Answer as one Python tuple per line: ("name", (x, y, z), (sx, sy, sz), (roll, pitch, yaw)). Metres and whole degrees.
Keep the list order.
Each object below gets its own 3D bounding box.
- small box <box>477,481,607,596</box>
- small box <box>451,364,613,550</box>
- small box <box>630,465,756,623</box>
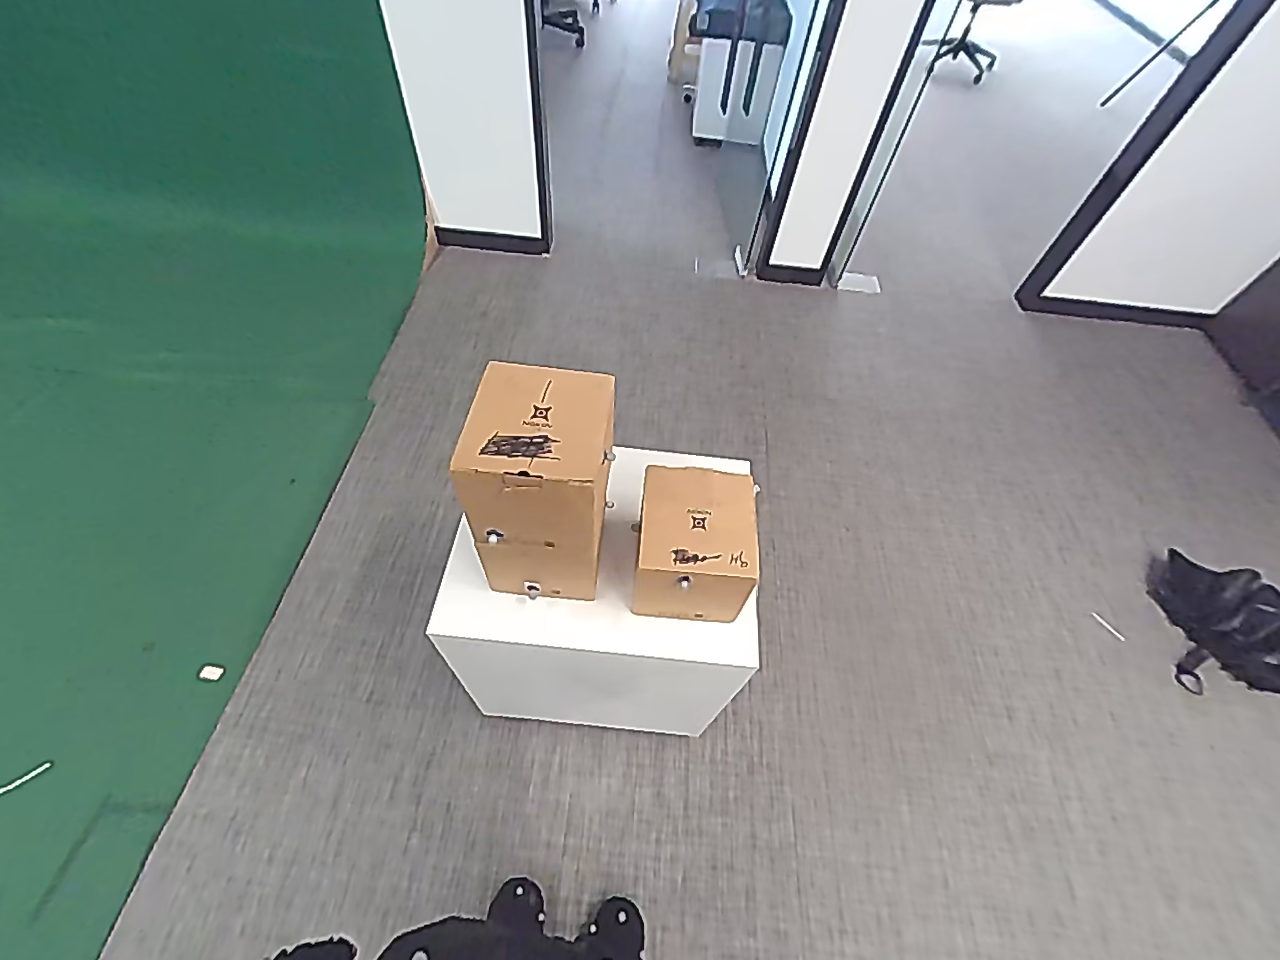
("small box", (-0.140, 0.061, 0.836), (0.168, 0.176, 0.179), (4, 55, -2))
("small box", (-0.129, -0.025, 0.717), (0.168, 0.176, 0.179), (7, 53, 0))
("small box", (0.076, 0.102, 0.844), (0.168, 0.176, 0.179), (6, 53, -1))
